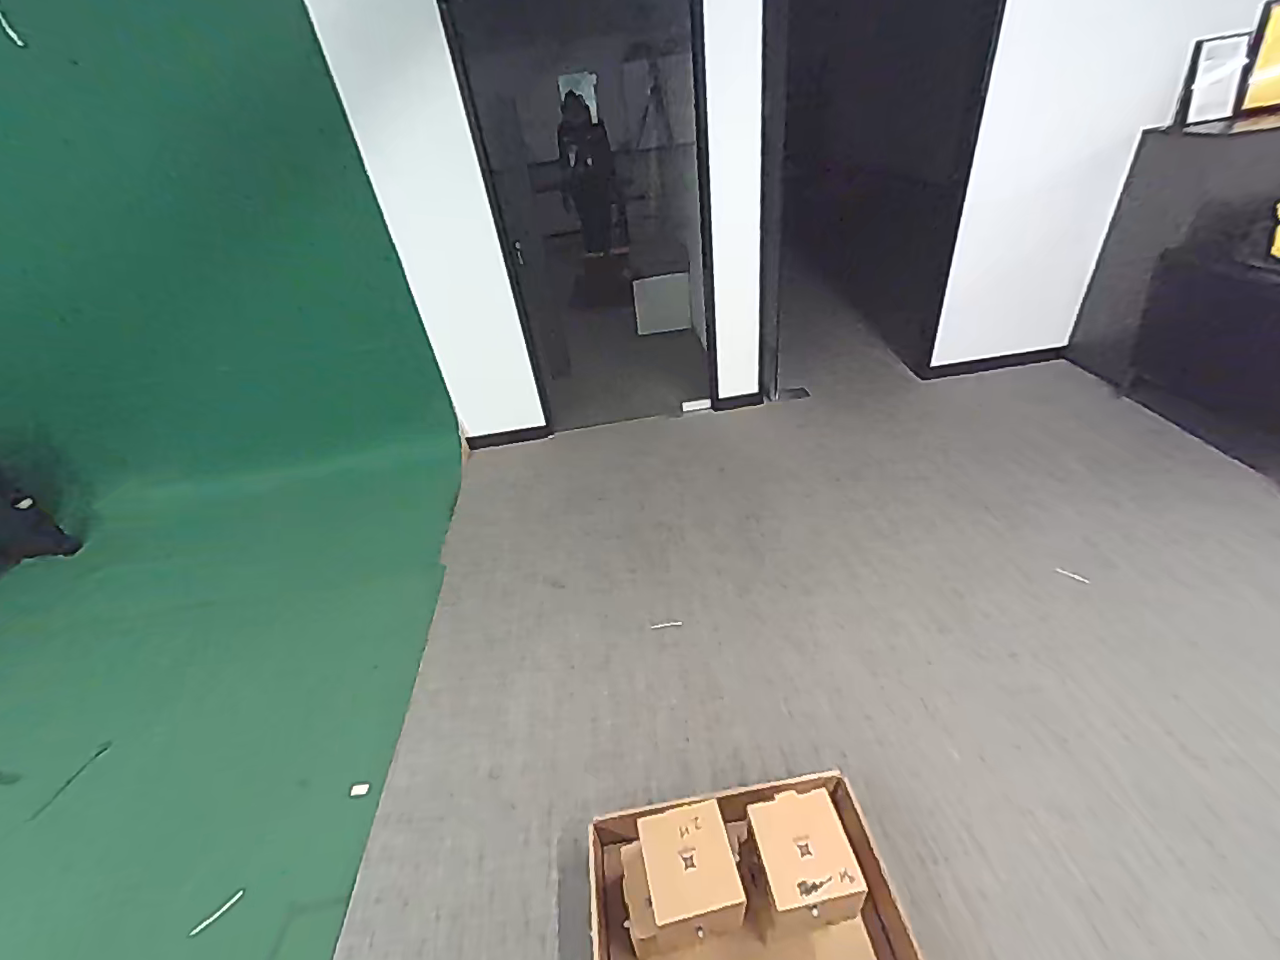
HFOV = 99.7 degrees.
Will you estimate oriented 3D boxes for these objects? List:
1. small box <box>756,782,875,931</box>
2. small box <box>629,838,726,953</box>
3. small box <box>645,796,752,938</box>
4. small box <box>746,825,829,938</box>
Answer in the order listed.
[{"bbox_3d":[0.331,0.732,1.054,0.168,0.176,0.179,-13,37,-2],"label":"small box"},{"bbox_3d":[0.083,0.890,1.174,0.179,0.176,0.168,-11,38,-4],"label":"small box"},{"bbox_3d":[0.114,0.764,1.063,0.168,0.176,0.179,-11,38,-6],"label":"small box"},{"bbox_3d":[0.343,0.849,1.170,0.179,0.176,0.168,-14,38,-6],"label":"small box"}]
